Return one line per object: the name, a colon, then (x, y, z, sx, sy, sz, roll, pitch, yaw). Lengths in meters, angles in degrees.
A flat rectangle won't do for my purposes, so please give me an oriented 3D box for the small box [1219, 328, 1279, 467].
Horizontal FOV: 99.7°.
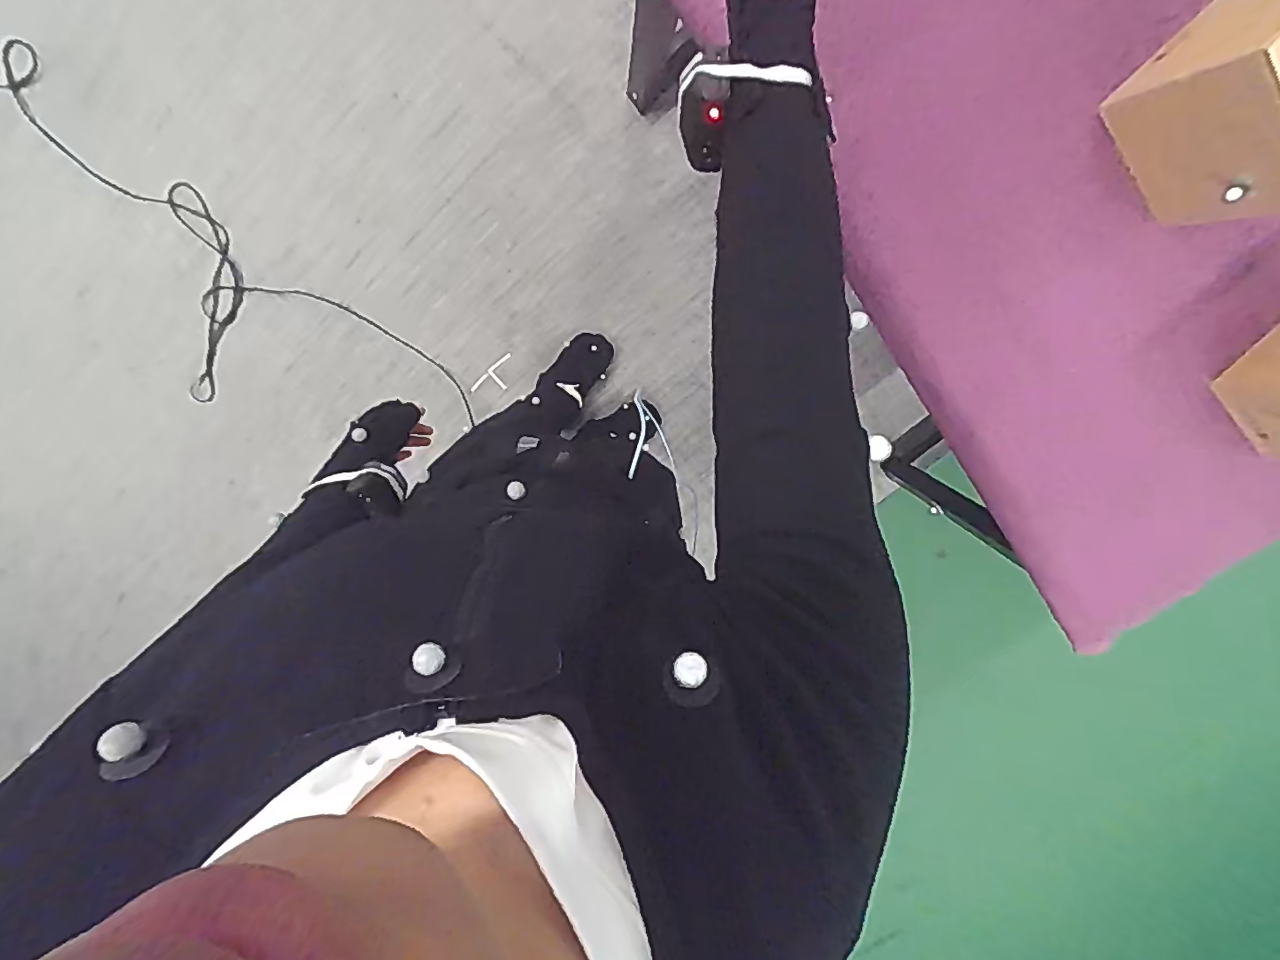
small box: (0.886, -0.106, 0.663, 0.168, 0.176, 0.179, 39, 102, -15)
